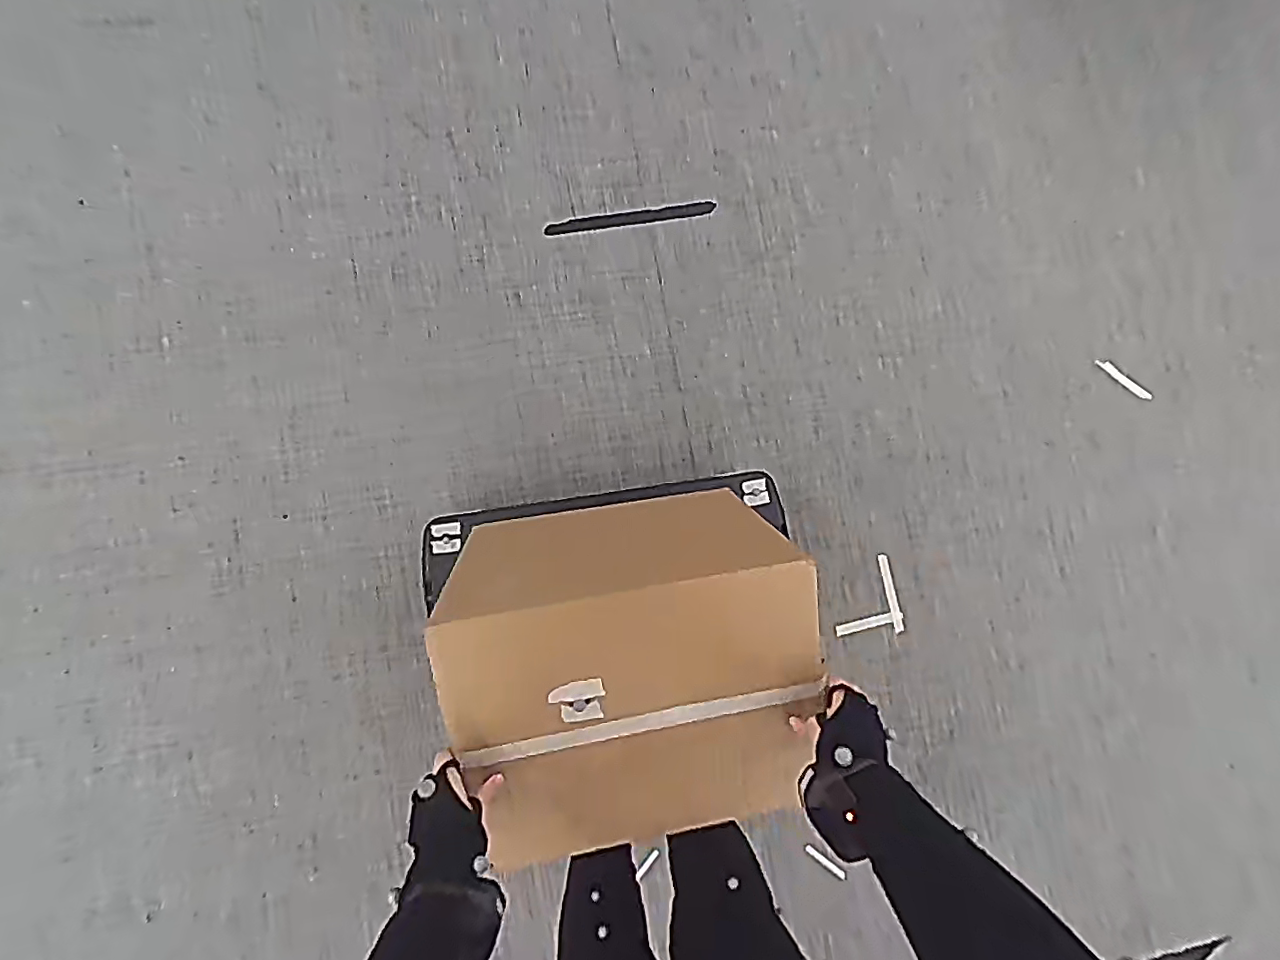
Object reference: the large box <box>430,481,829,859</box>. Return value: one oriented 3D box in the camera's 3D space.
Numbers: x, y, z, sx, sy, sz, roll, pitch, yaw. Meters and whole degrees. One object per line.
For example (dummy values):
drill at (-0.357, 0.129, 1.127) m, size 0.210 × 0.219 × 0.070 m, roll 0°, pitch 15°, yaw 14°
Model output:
large box at (-0.009, 0.212, 0.727) m, size 0.408 × 0.320 × 0.320 m, roll -9°, pitch 103°, yaw -4°

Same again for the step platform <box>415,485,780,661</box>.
step platform at (-0.068, 0.170, 1.047) m, size 0.684 × 0.204 × 0.286 m, roll -4°, pitch 86°, yaw -5°
